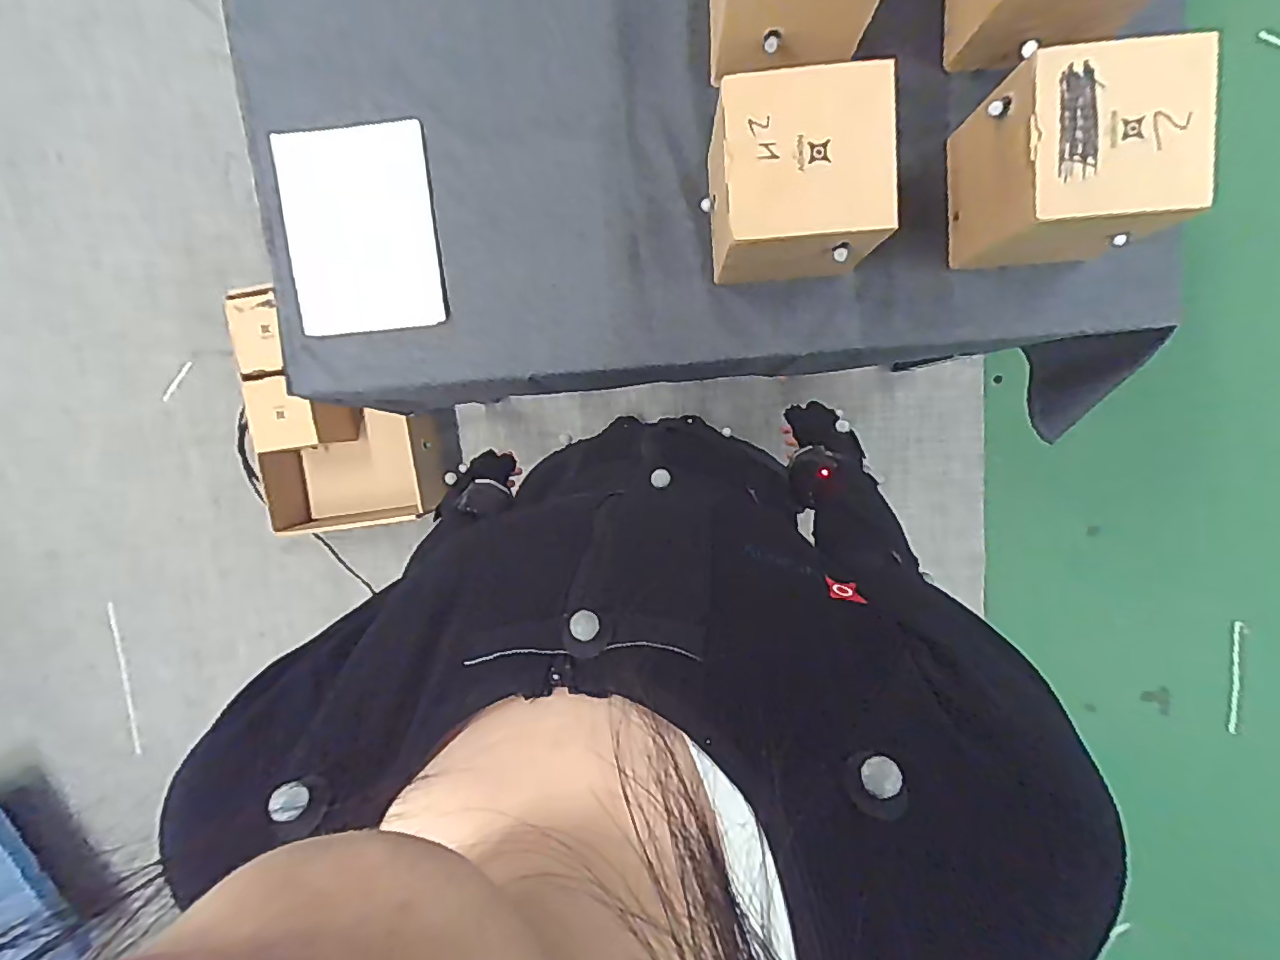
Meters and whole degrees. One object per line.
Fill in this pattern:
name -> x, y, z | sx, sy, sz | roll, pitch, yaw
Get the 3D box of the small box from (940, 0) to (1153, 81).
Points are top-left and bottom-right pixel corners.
small box -> 0.458, -0.590, 0.601 | 0.168, 0.176, 0.179 | -1, 96, 3

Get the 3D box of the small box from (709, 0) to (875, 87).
small box -> 0.169, -0.579, 0.617 | 0.168, 0.176, 0.179 | -1, 95, 3

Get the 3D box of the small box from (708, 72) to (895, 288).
small box -> 0.177, -0.335, 0.636 | 0.179, 0.176, 0.168 | -3, 94, 3
